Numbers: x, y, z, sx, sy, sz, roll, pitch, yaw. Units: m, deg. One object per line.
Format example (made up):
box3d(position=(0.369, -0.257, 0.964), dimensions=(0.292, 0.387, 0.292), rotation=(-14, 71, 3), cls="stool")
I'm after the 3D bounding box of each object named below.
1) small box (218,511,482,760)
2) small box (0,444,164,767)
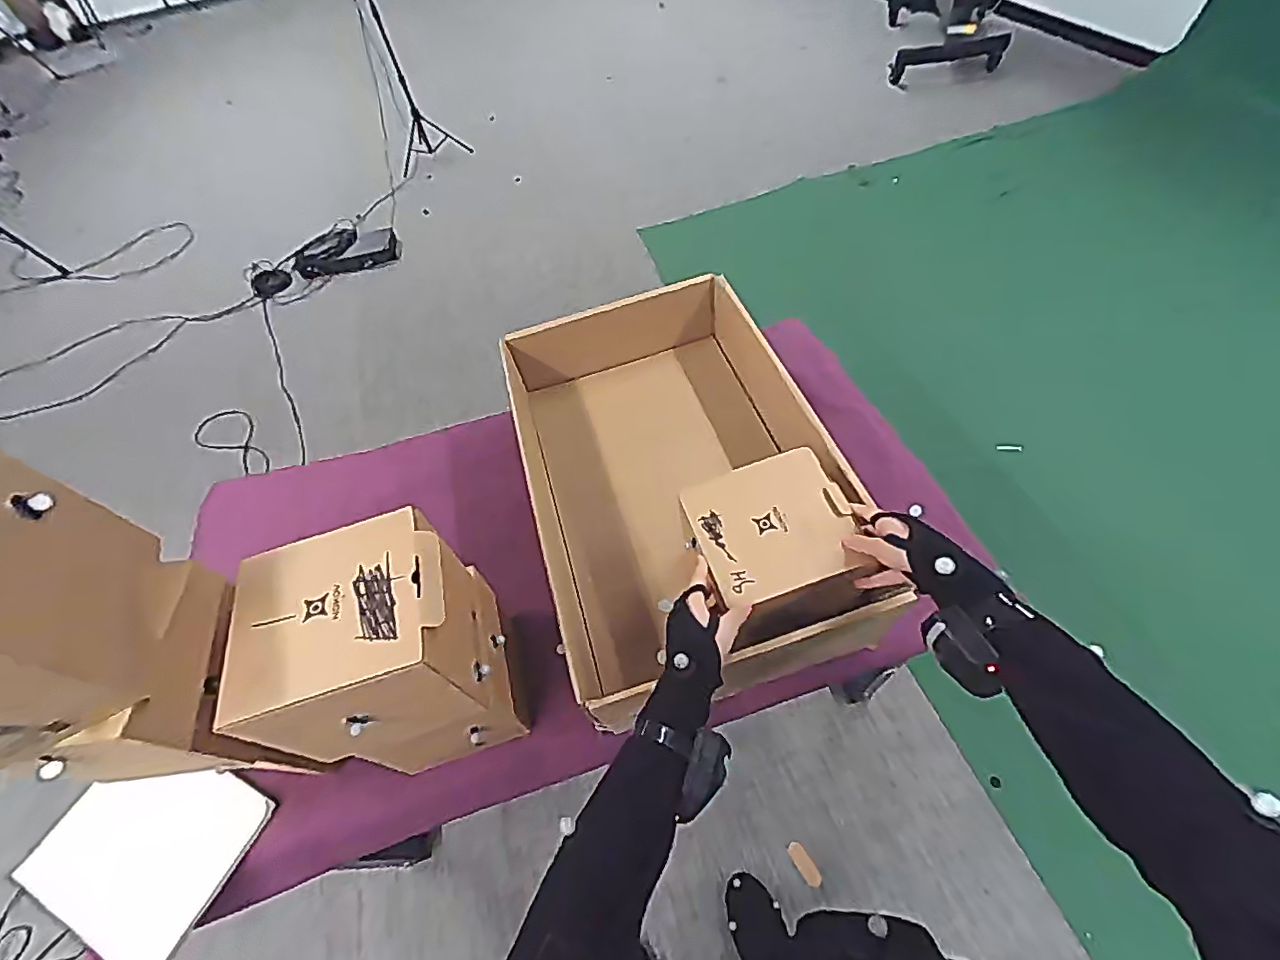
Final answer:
box3d(position=(-0.273, 0.163, 0.553), dimensions=(0.179, 0.176, 0.168), rotation=(-18, 53, -6), cls="small box")
box3d(position=(-0.527, 0.109, 0.426), dimensions=(0.168, 0.176, 0.179), rotation=(-26, 56, -9), cls="small box")
